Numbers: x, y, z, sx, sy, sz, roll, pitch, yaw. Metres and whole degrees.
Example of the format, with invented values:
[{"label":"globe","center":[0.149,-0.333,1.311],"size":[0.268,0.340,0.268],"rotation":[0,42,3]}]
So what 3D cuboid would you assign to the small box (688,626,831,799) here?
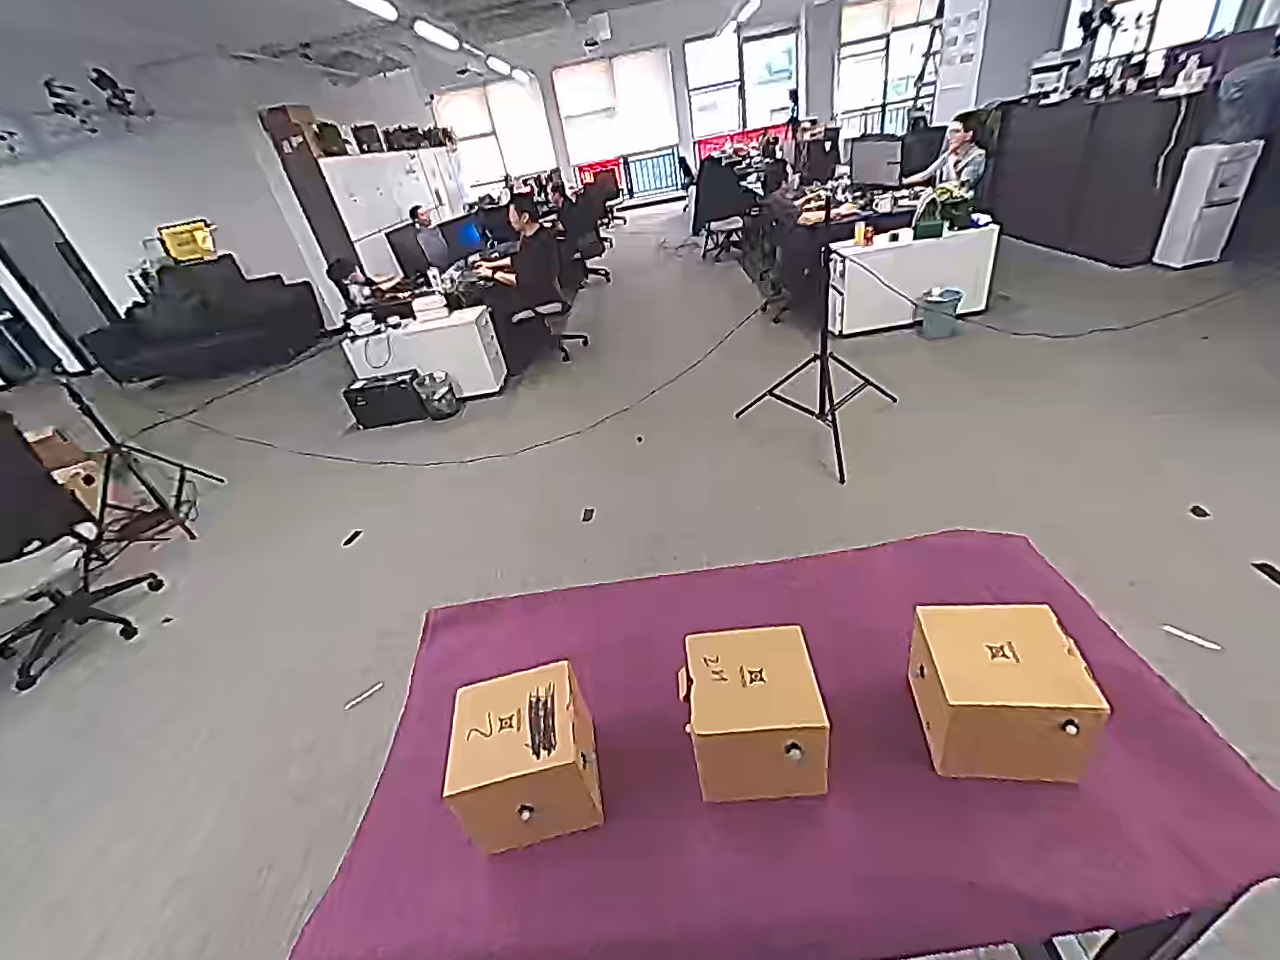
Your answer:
[{"label":"small box","center":[0.168,0.340,0.793],"size":[0.179,0.176,0.168],"rotation":[-8,32,6]}]

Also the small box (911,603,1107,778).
[{"label":"small box","center":[0.494,0.293,0.759],"size":[0.179,0.176,0.168],"rotation":[-4,33,13]}]
